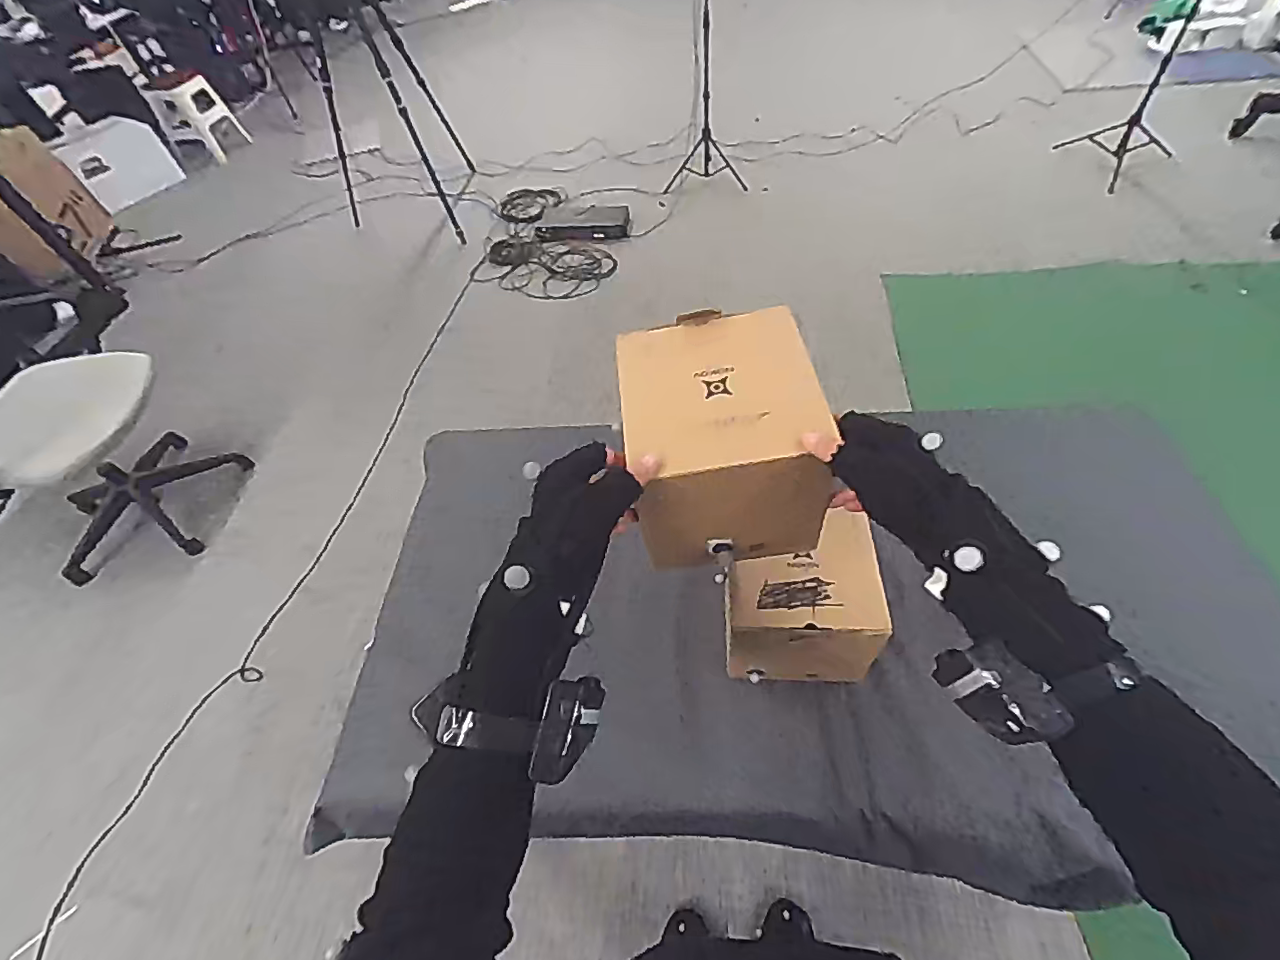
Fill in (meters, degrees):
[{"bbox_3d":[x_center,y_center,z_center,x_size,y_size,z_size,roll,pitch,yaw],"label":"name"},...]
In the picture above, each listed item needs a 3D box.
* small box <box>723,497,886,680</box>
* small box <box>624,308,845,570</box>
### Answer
[{"bbox_3d":[0.190,0.139,0.679,0.168,0.176,0.179,0,52,7],"label":"small box"},{"bbox_3d":[0.079,-0.034,0.521,0.168,0.176,0.179,-8,55,5],"label":"small box"}]
